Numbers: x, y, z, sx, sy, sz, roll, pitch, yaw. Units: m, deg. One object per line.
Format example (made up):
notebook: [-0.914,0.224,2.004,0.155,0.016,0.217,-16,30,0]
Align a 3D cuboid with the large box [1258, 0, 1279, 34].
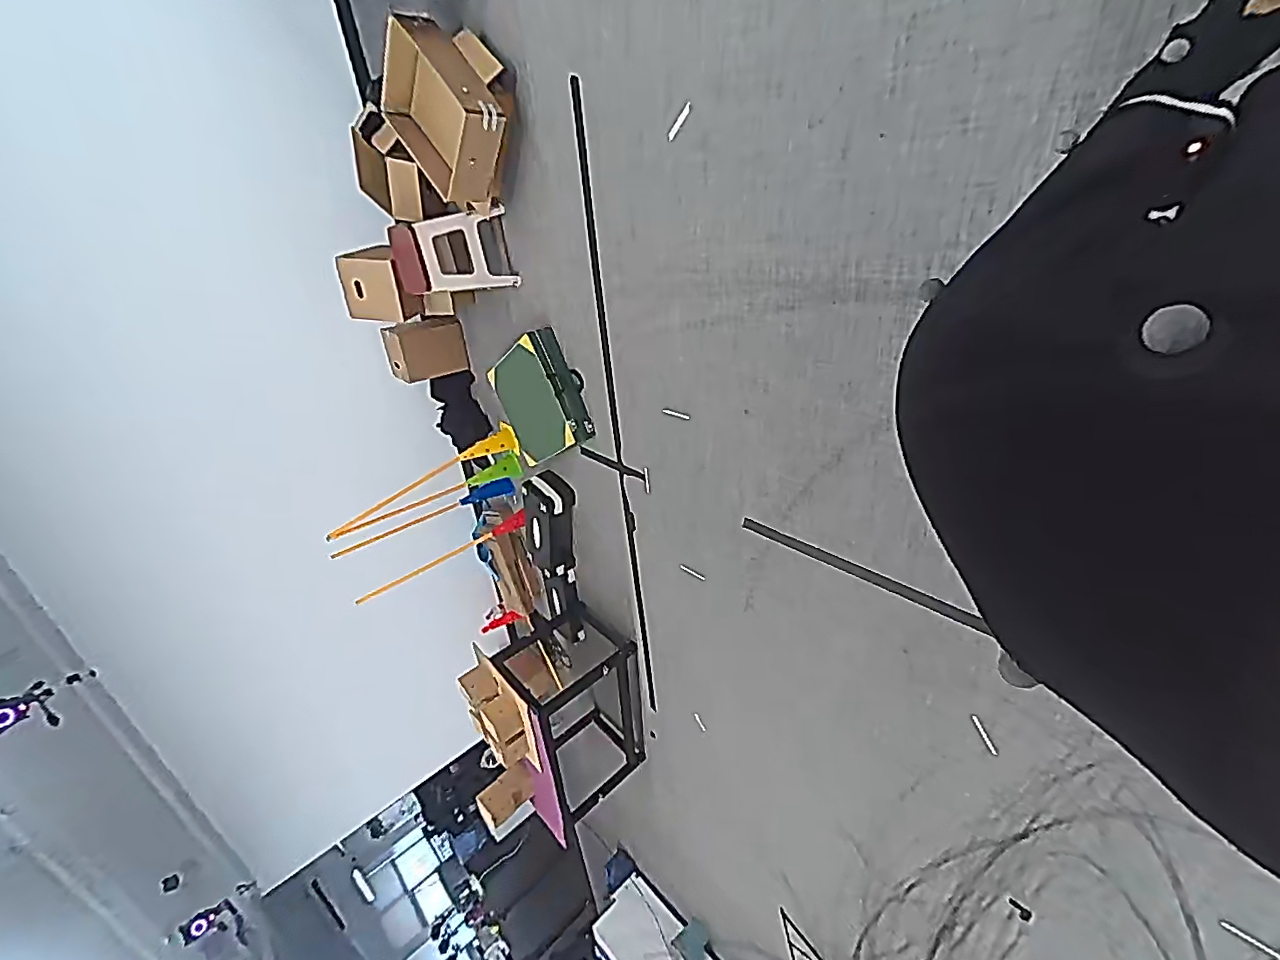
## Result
large box: [1.021,-0.750,0.585,0.408,0.320,0.320,21,128,43]
